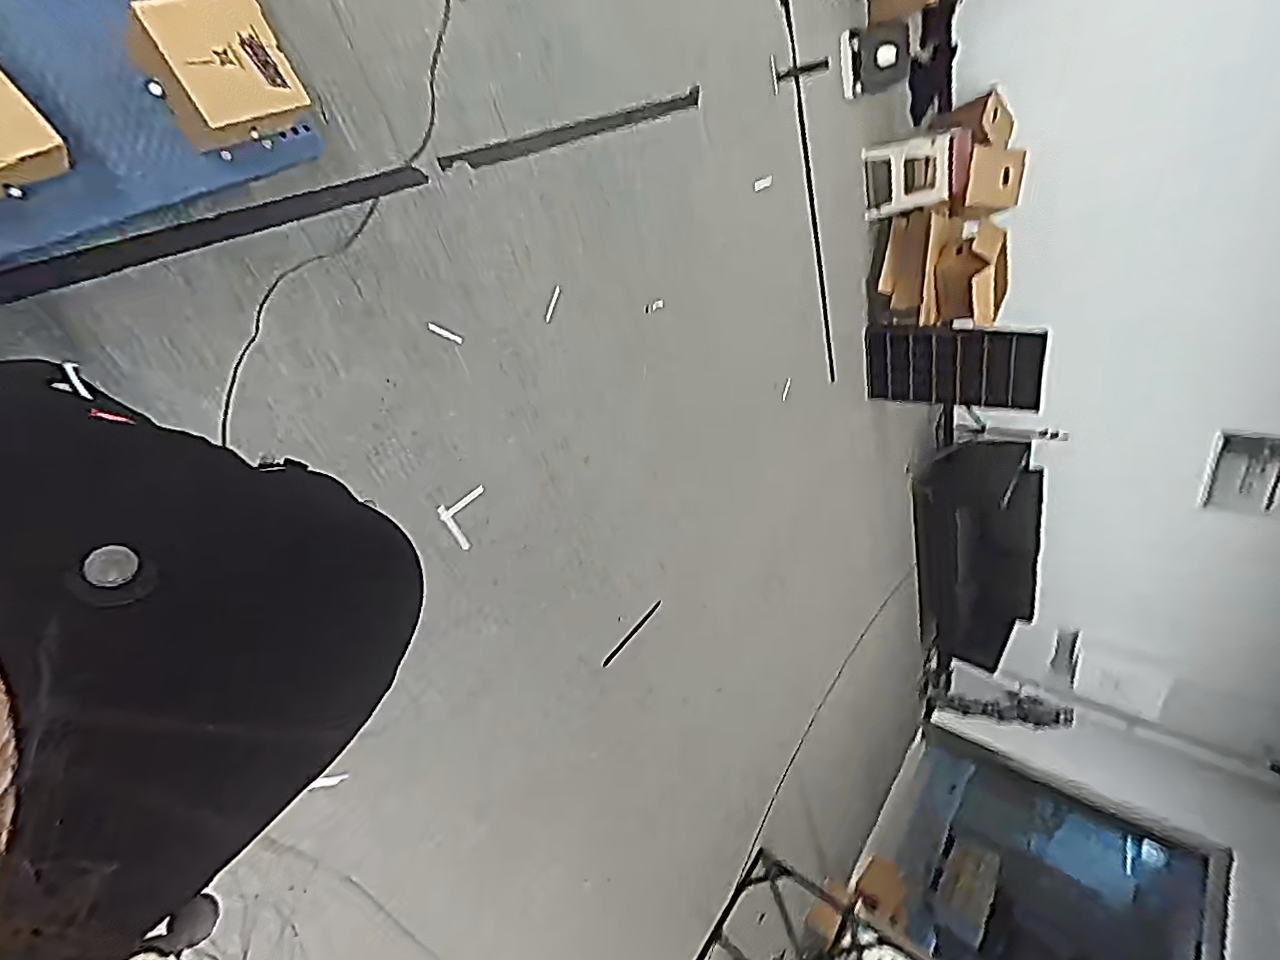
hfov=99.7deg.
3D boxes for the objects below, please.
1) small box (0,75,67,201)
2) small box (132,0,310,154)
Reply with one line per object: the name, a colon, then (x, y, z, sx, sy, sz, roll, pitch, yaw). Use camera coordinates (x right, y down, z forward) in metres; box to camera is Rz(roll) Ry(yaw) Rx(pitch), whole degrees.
small box: (-0.949, -0.491, 0.734, 0.168, 0.176, 0.179, -48, 129, -27)
small box: (-0.718, -0.688, 0.926, 0.179, 0.176, 0.168, -42, 127, -30)
